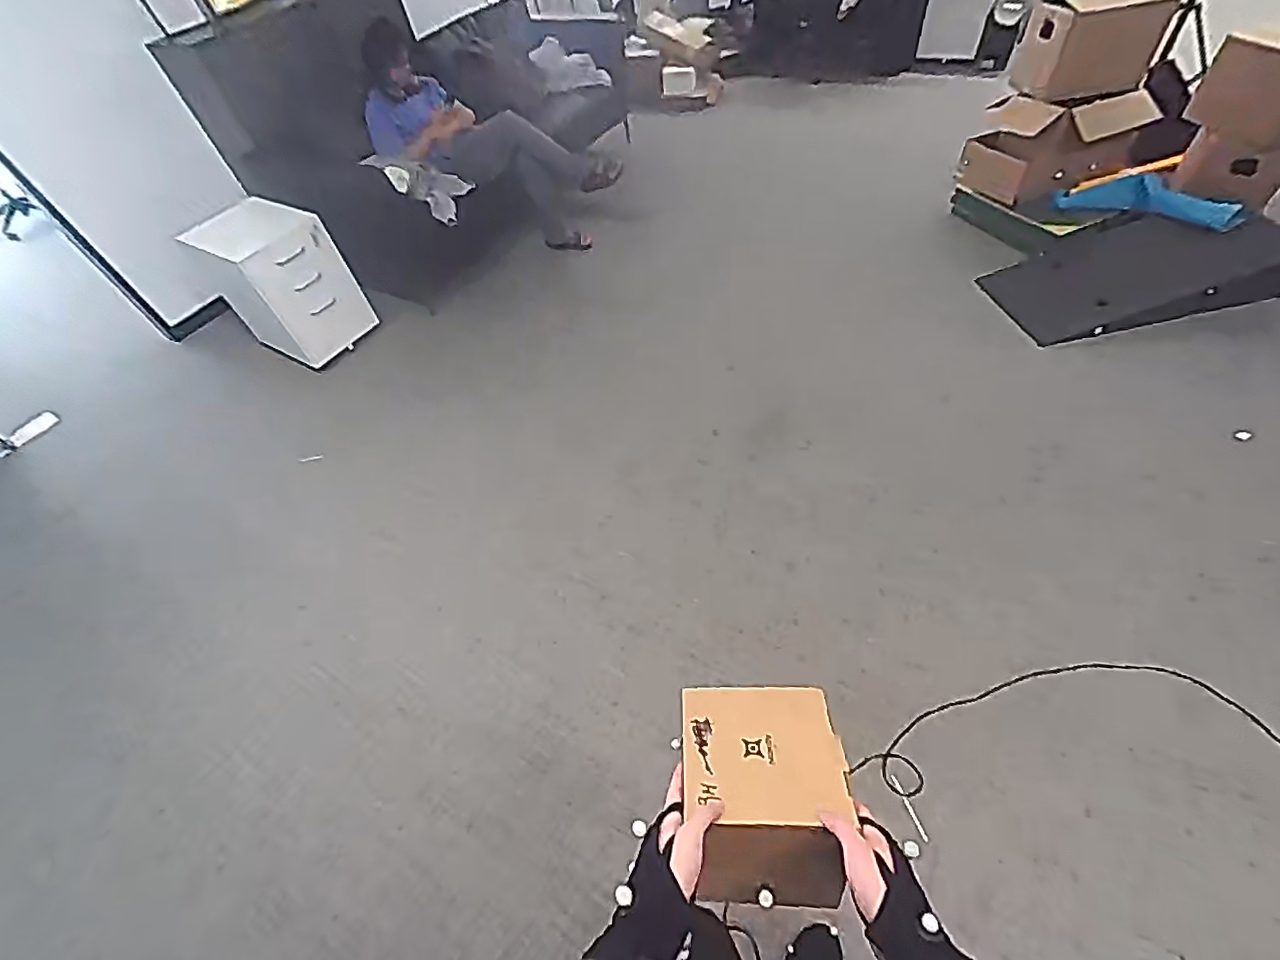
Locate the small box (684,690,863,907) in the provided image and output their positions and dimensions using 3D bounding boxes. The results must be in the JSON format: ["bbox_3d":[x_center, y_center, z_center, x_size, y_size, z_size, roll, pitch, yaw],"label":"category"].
[{"bbox_3d":[0.142,0.376,0.645,0.179,0.176,0.168,-1,29,4],"label":"small box"}]
